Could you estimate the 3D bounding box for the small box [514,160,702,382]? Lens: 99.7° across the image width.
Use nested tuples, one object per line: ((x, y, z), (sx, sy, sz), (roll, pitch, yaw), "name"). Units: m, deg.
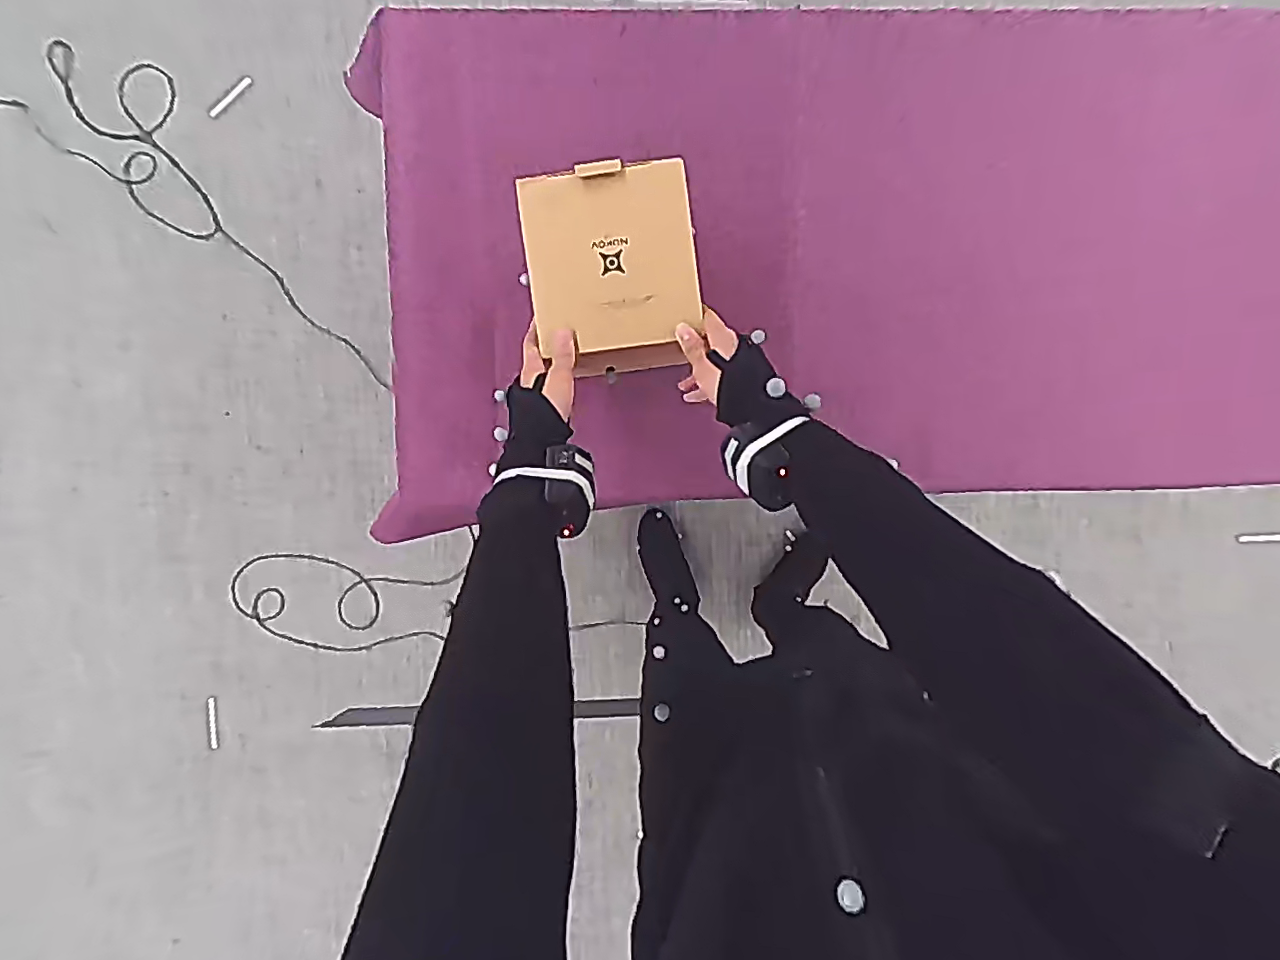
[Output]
((-0.032, -0.214, 0.597), (0.168, 0.176, 0.179), (-7, 93, 0), "small box")
